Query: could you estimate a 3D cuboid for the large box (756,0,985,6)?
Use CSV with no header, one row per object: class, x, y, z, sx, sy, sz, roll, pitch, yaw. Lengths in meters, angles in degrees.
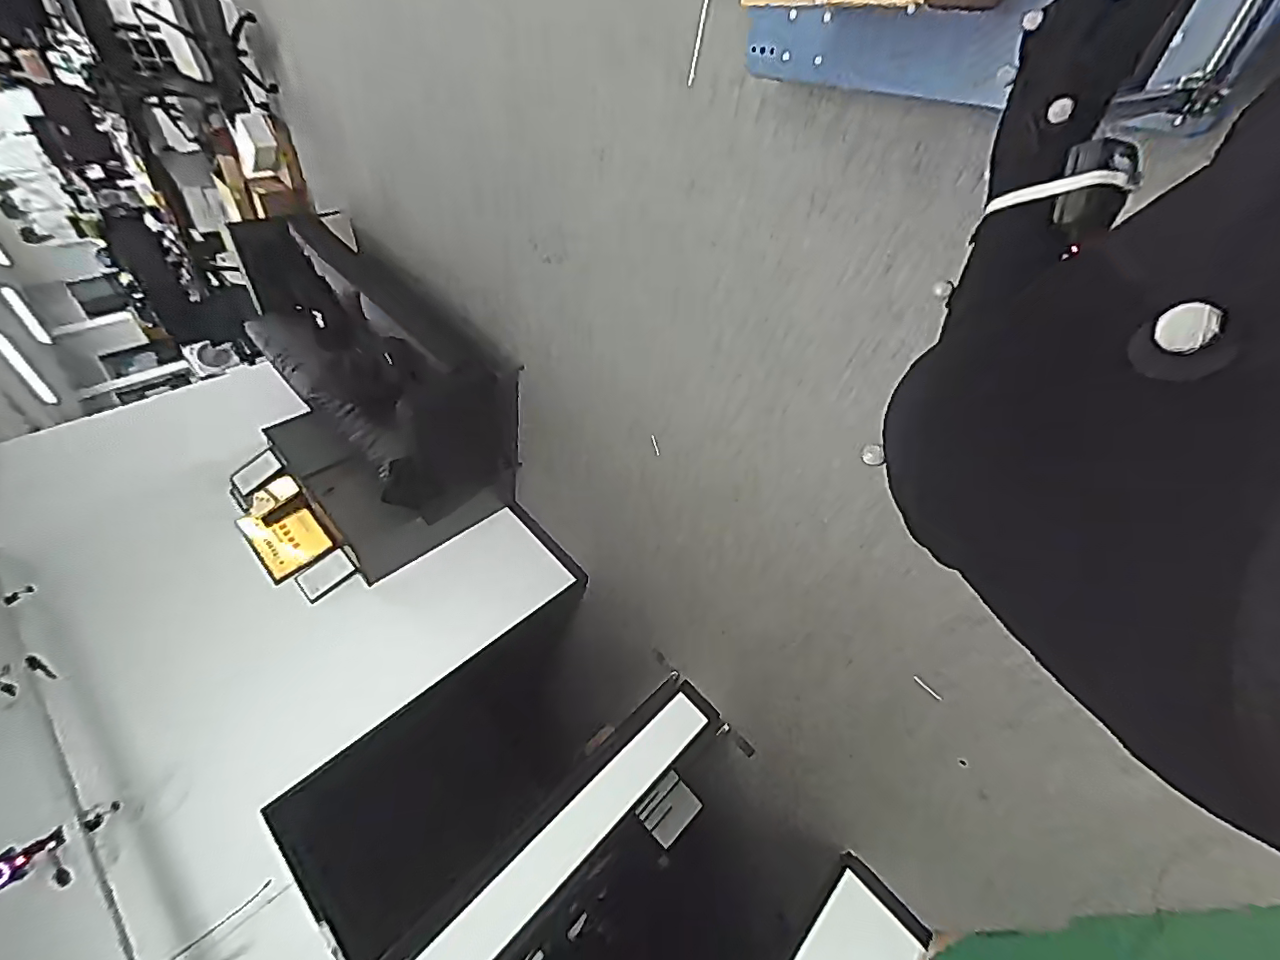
large box,0.401,-0.956,0.778,0.320,0.320,0.408,33,141,32
